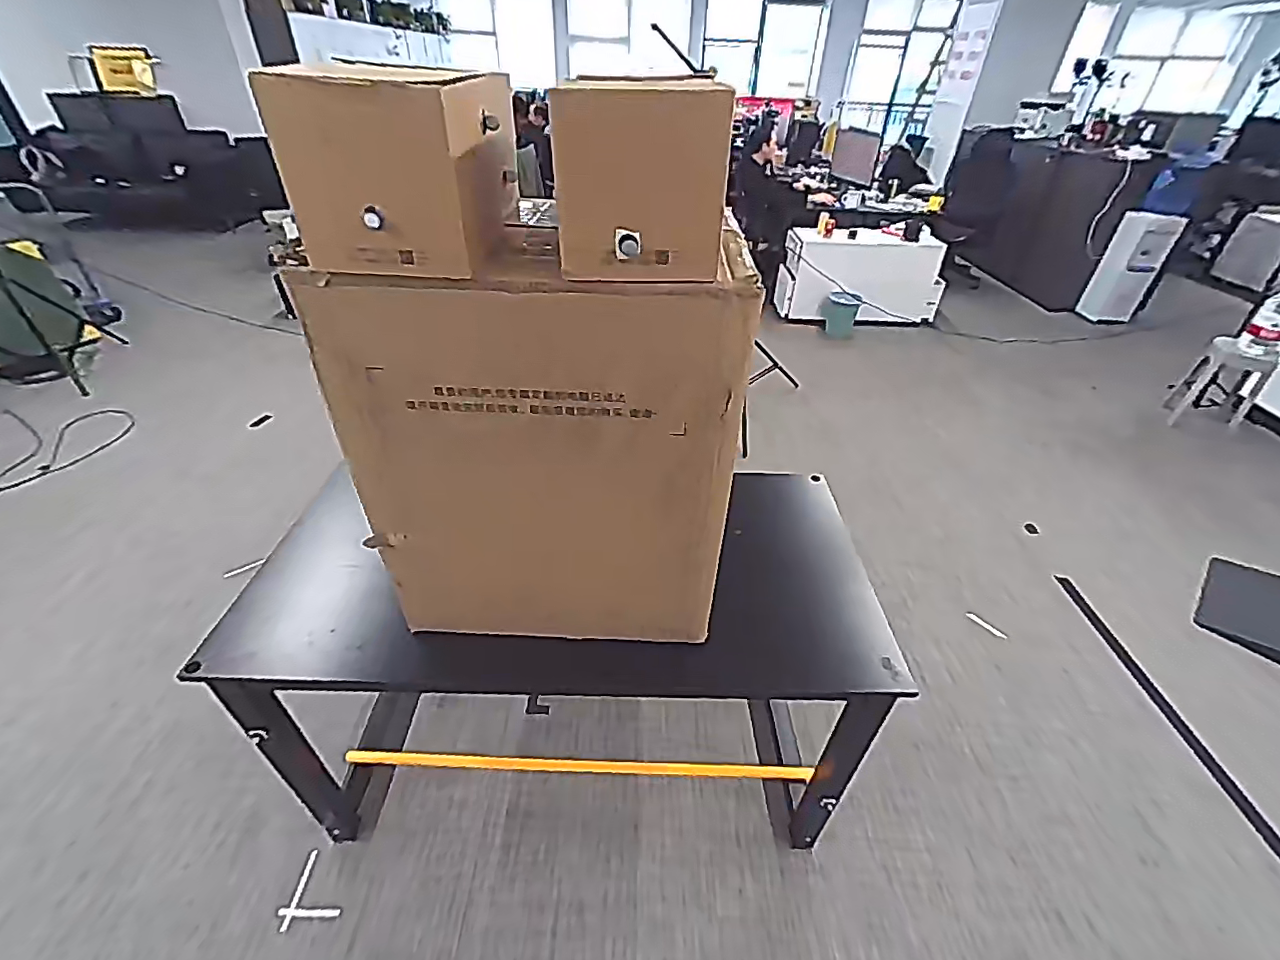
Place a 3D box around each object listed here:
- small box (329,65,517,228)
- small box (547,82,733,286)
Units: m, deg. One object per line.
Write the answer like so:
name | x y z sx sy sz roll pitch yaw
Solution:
small box | -0.274 -0.447 0.731 0.179 0.176 0.168 3 36 -1
small box | -0.002 -0.320 0.582 0.168 0.176 0.179 -2 39 -1
